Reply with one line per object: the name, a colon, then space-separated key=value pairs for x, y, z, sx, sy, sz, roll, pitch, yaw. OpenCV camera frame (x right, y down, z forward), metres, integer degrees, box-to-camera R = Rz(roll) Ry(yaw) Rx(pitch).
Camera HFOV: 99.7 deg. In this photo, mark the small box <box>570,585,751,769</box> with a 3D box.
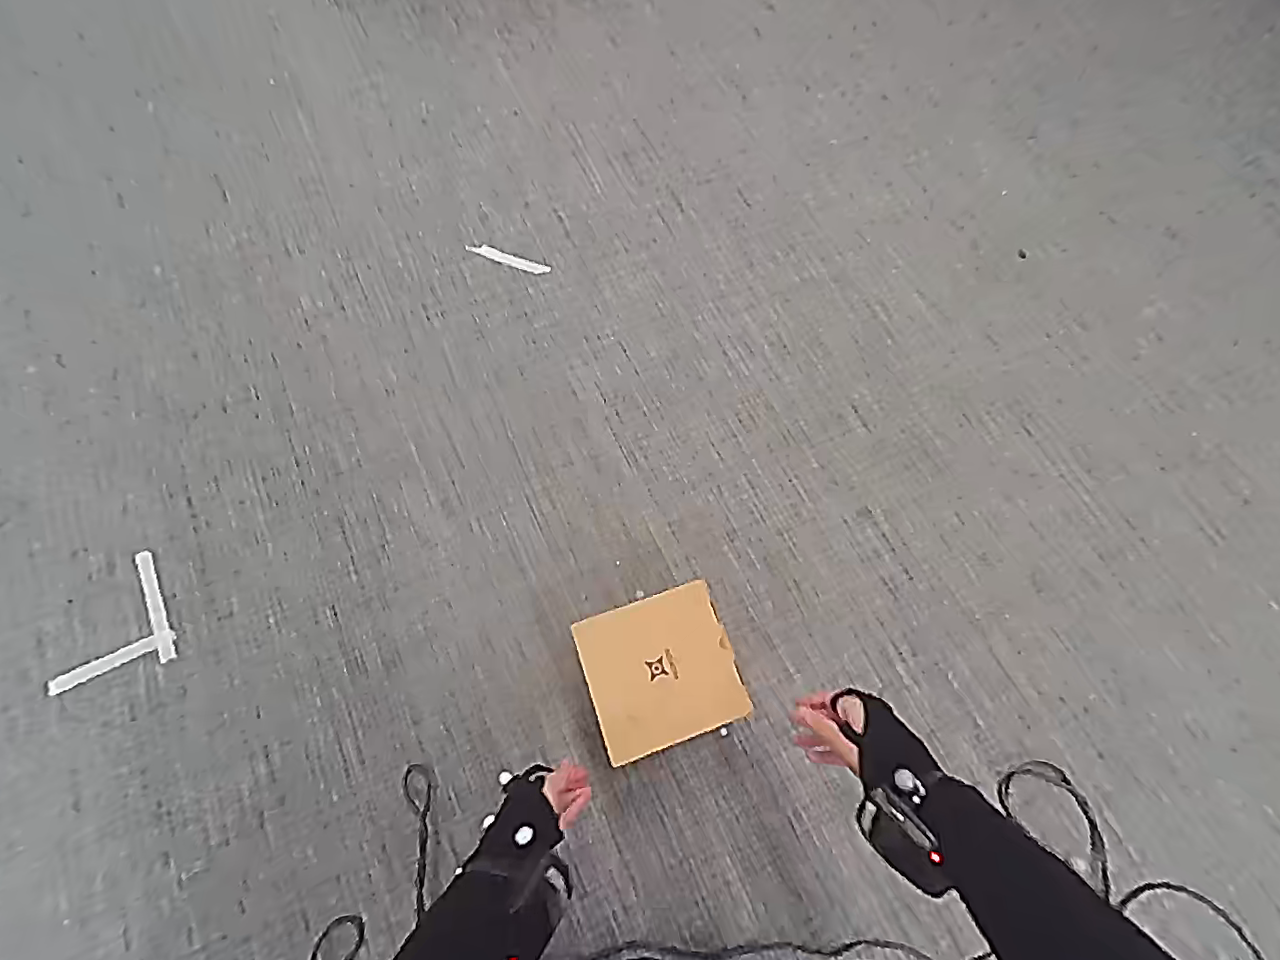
small box: x=0.020 y=0.256 z=0.711 sx=0.179 sy=0.176 sz=0.168 roll=-18 pitch=71 yaw=-10
